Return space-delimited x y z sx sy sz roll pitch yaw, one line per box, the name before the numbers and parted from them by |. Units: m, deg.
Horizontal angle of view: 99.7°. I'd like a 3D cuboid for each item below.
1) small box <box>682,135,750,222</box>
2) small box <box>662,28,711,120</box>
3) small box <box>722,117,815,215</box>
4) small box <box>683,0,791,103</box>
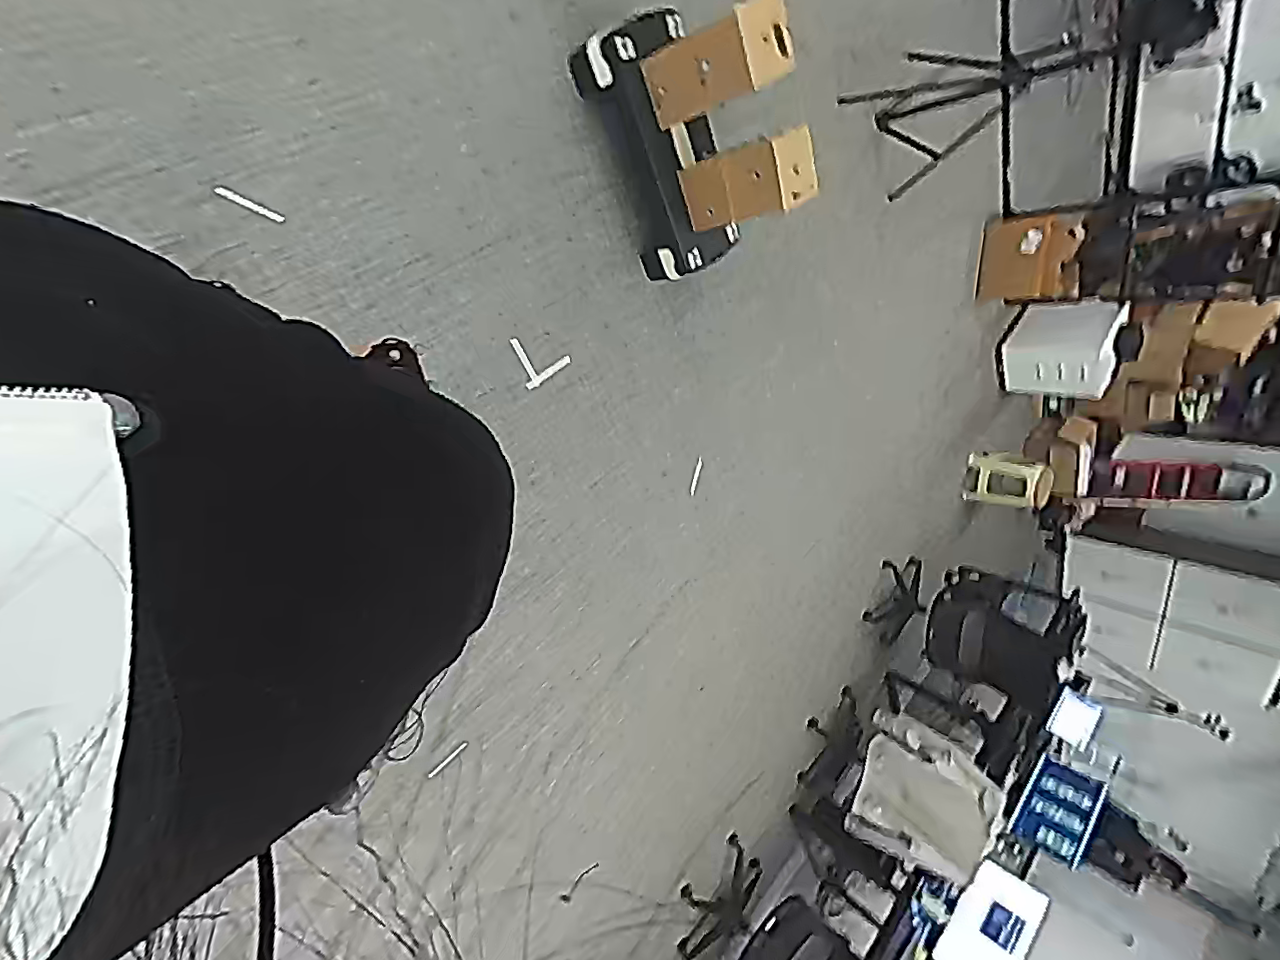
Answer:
small box | 0.232 -0.878 1.593 0.168 0.176 0.179 -42 125 -25
small box | 0.130 -1.093 1.445 0.179 0.176 0.168 -42 125 -24
small box | 0.349 -0.853 1.482 0.168 0.176 0.179 -38 123 -26
small box | 0.237 -1.063 1.324 0.179 0.176 0.168 -43 126 -23
